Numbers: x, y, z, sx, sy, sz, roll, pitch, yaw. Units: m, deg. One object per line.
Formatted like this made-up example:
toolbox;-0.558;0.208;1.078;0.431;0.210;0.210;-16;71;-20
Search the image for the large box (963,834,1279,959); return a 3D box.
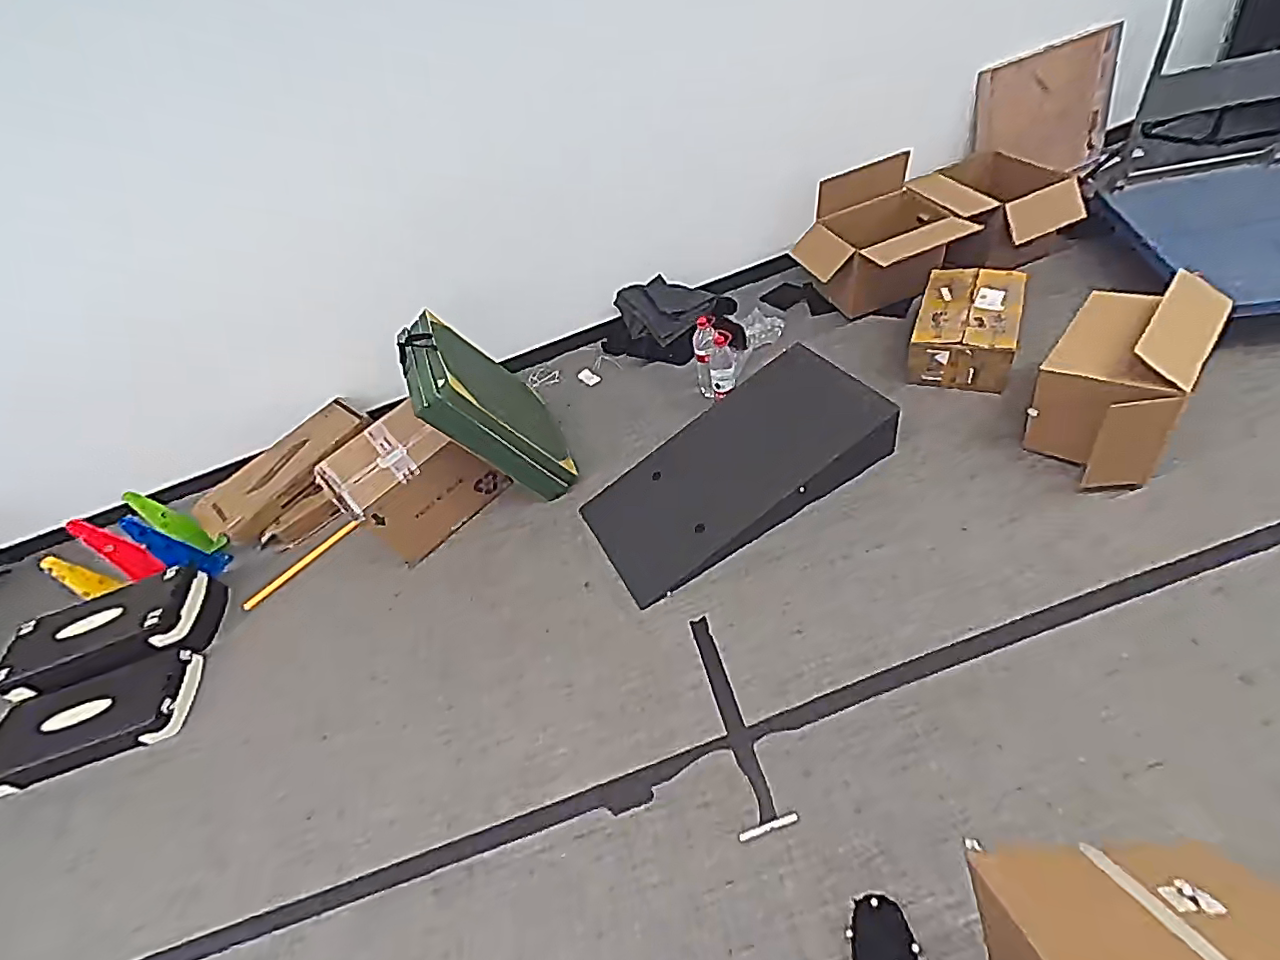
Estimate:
large box;0.622;0.650;0.573;0.320;0.408;0.320;-9;81;9
